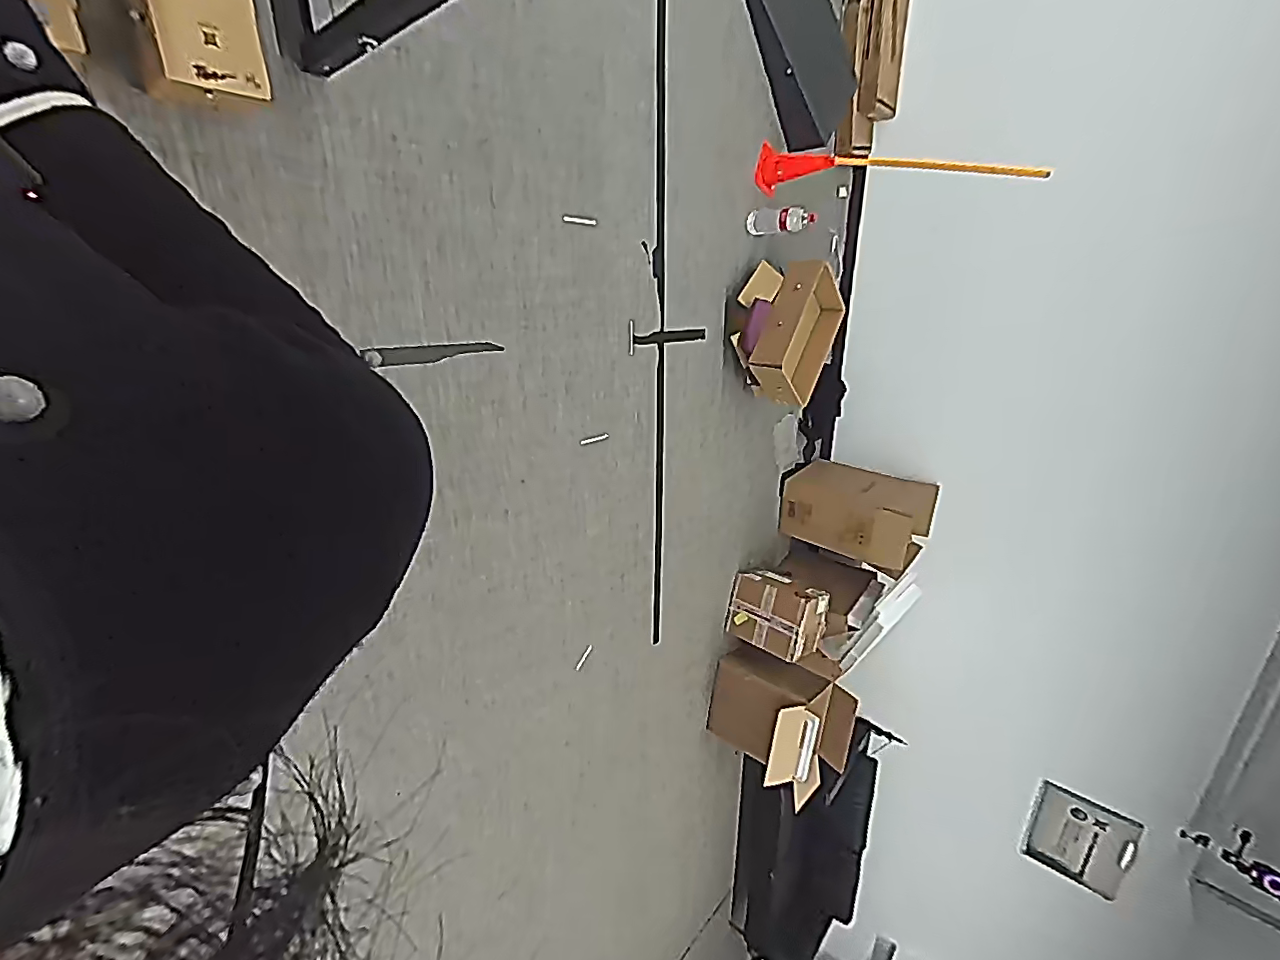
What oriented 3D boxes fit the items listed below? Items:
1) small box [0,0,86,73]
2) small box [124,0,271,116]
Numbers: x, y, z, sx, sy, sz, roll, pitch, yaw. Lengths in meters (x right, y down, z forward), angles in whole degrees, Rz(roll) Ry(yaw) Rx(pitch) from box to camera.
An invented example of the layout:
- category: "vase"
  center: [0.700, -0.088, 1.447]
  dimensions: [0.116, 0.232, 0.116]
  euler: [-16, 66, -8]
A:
- category: "small box"
  center: [-1.011, -0.761, 0.834]
  dimensions: [0.179, 0.176, 0.168]
  euler: [-20, 117, -44]
- category: "small box"
  center: [-0.836, -0.821, 1.021]
  dimensions: [0.168, 0.176, 0.179]
  euler: [-21, 118, -44]
